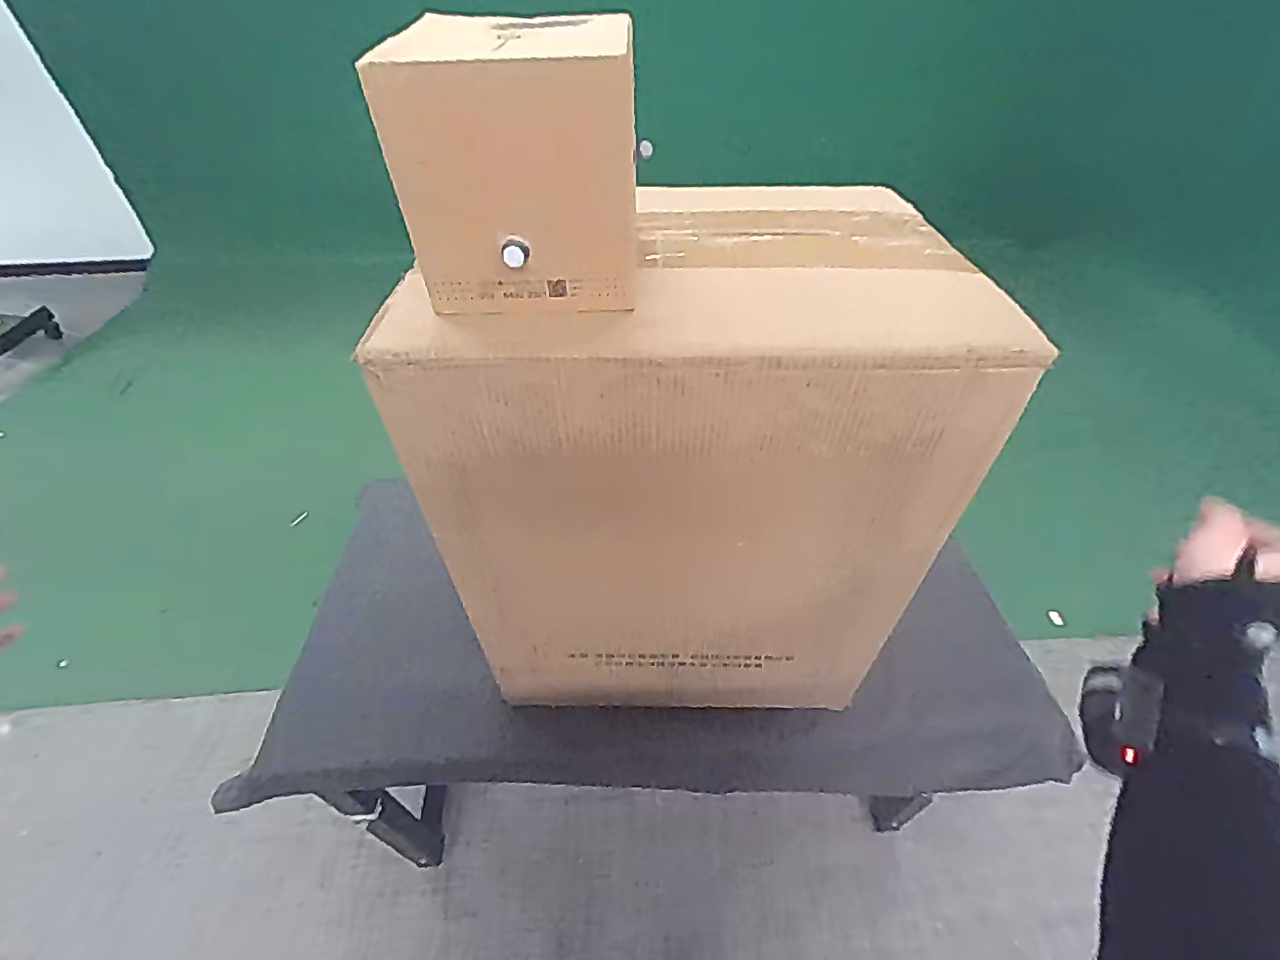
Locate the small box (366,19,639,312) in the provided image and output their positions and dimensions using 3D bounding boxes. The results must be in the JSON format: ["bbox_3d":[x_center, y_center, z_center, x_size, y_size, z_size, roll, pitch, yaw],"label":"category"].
[{"bbox_3d":[-0.087,-0.257,0.444,0.168,0.176,0.179,-1,47,1],"label":"small box"}]
